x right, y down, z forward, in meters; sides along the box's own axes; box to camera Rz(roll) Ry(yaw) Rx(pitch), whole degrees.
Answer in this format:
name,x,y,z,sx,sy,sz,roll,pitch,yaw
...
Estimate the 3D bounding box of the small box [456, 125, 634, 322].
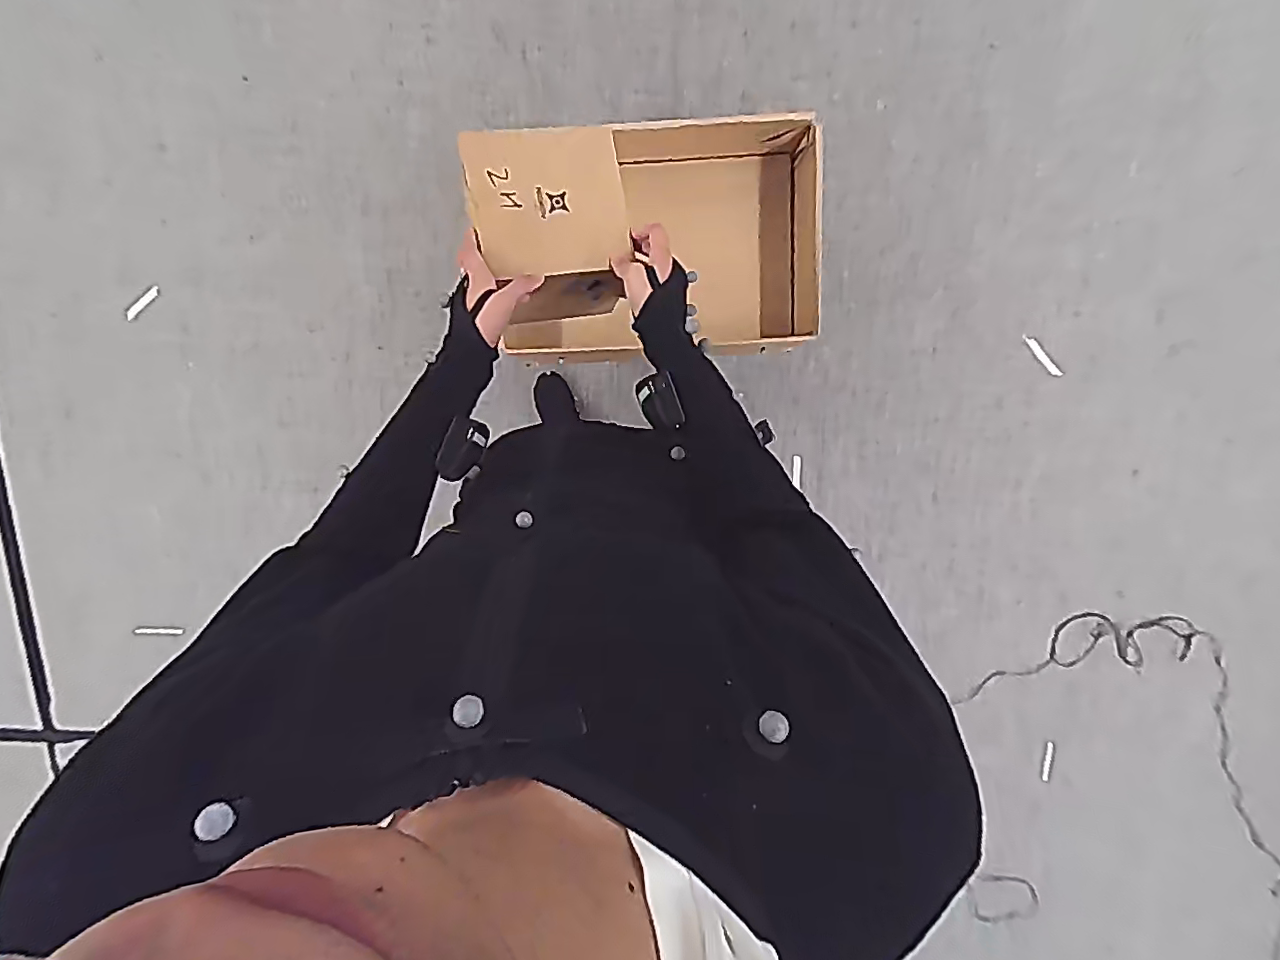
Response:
name,x,y,z,sx,sy,sz,roll,pitch,yaw
small box,-0.121,-0.310,0.678,0.179,0.176,0.168,-11,92,-13
